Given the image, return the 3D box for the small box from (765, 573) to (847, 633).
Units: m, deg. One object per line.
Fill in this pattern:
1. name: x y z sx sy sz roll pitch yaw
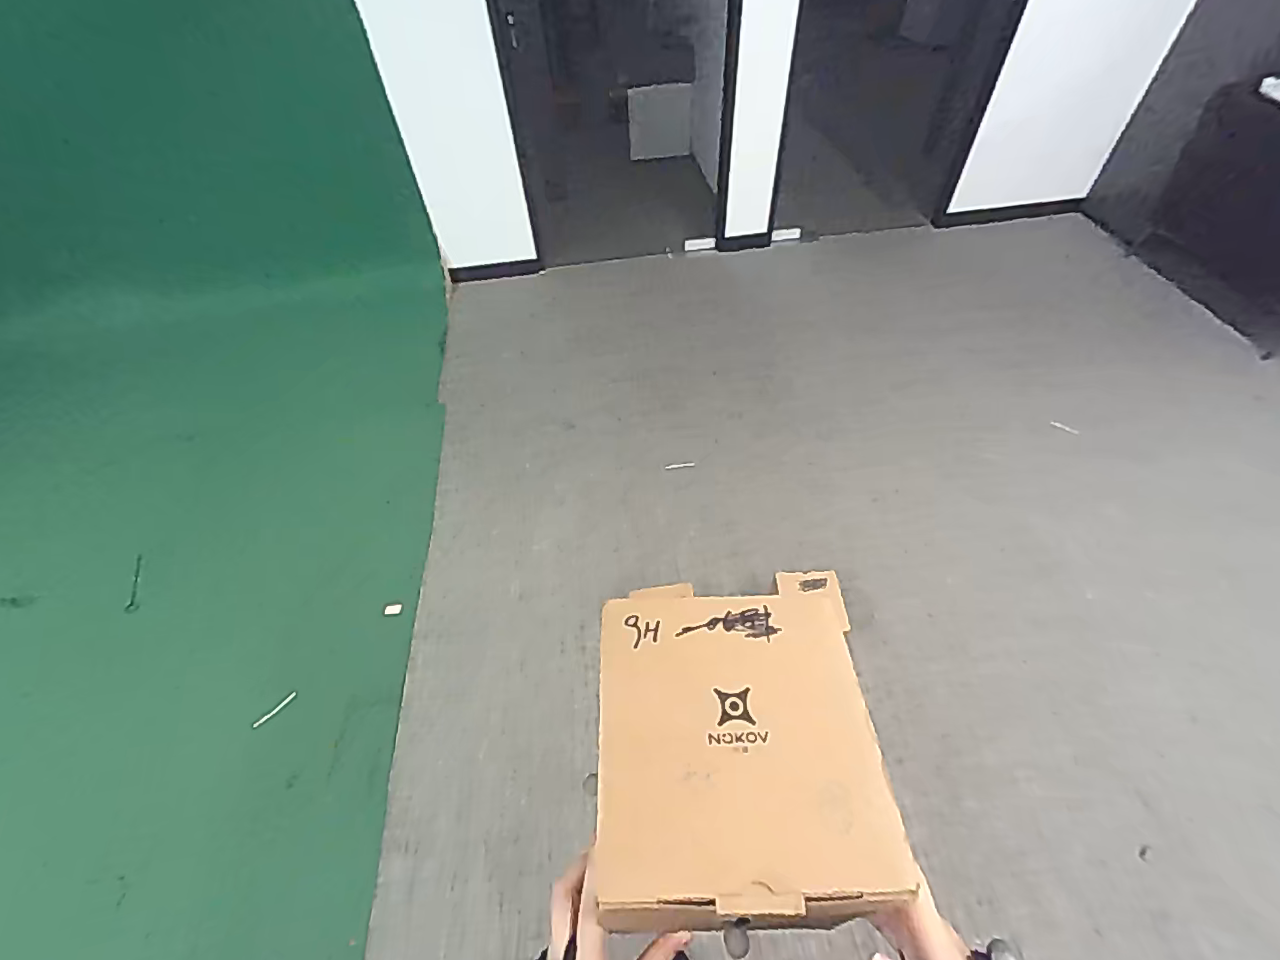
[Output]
1. small box: 0.445 0.373 1.481 0.168 0.176 0.179 -2 52 1

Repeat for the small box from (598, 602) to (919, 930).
1. small box: 0.059 0.206 0.385 0.168 0.176 0.179 0 48 -2
